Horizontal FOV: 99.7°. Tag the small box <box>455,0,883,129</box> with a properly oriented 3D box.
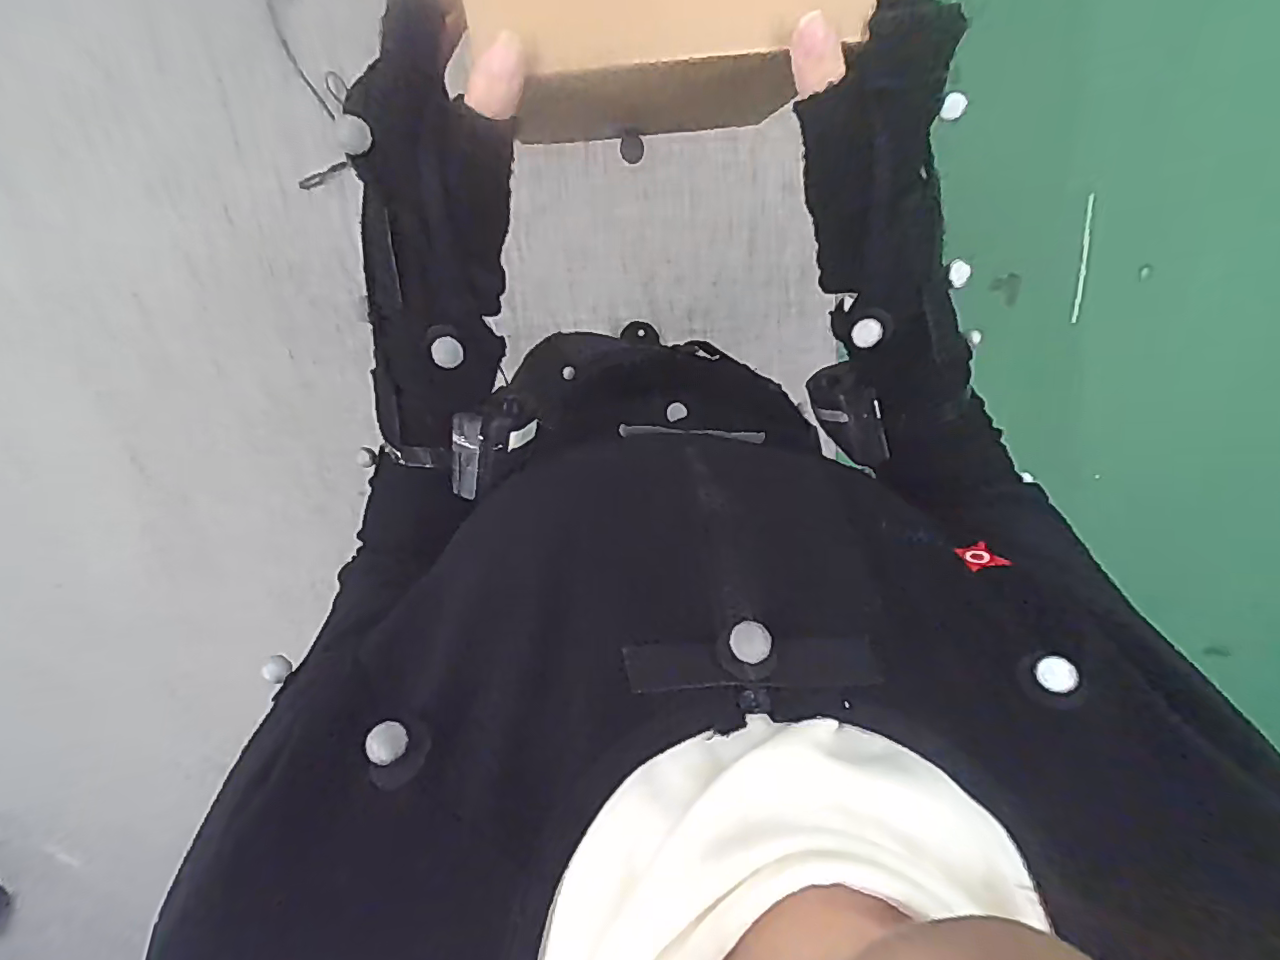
[{"bbox_3d":[-0.001,-0.283,0.244,0.168,0.176,0.179,-7,114,-2],"label":"small box"}]
